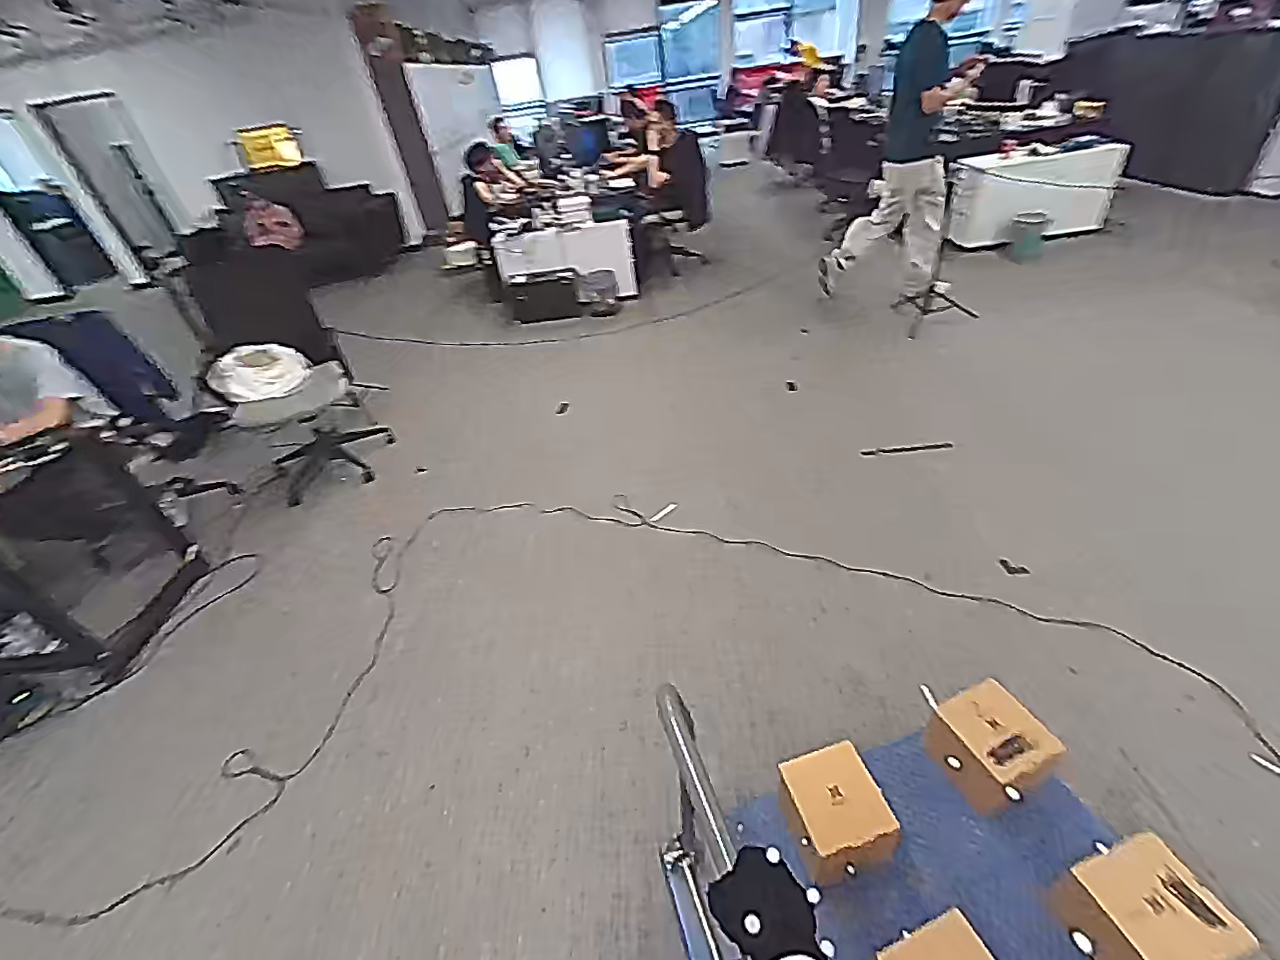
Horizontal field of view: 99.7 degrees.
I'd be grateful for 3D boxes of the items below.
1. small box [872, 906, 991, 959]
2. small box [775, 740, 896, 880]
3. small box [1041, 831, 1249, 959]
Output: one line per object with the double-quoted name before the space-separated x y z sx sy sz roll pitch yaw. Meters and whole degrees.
"small box" 0.489 0.848 0.874 0.168 0.176 0.179 -18 38 -12
"small box" 0.389 0.679 1.114 0.168 0.176 0.179 -15 40 -8
"small box" 0.845 0.749 0.929 0.179 0.176 0.168 -17 38 -9
